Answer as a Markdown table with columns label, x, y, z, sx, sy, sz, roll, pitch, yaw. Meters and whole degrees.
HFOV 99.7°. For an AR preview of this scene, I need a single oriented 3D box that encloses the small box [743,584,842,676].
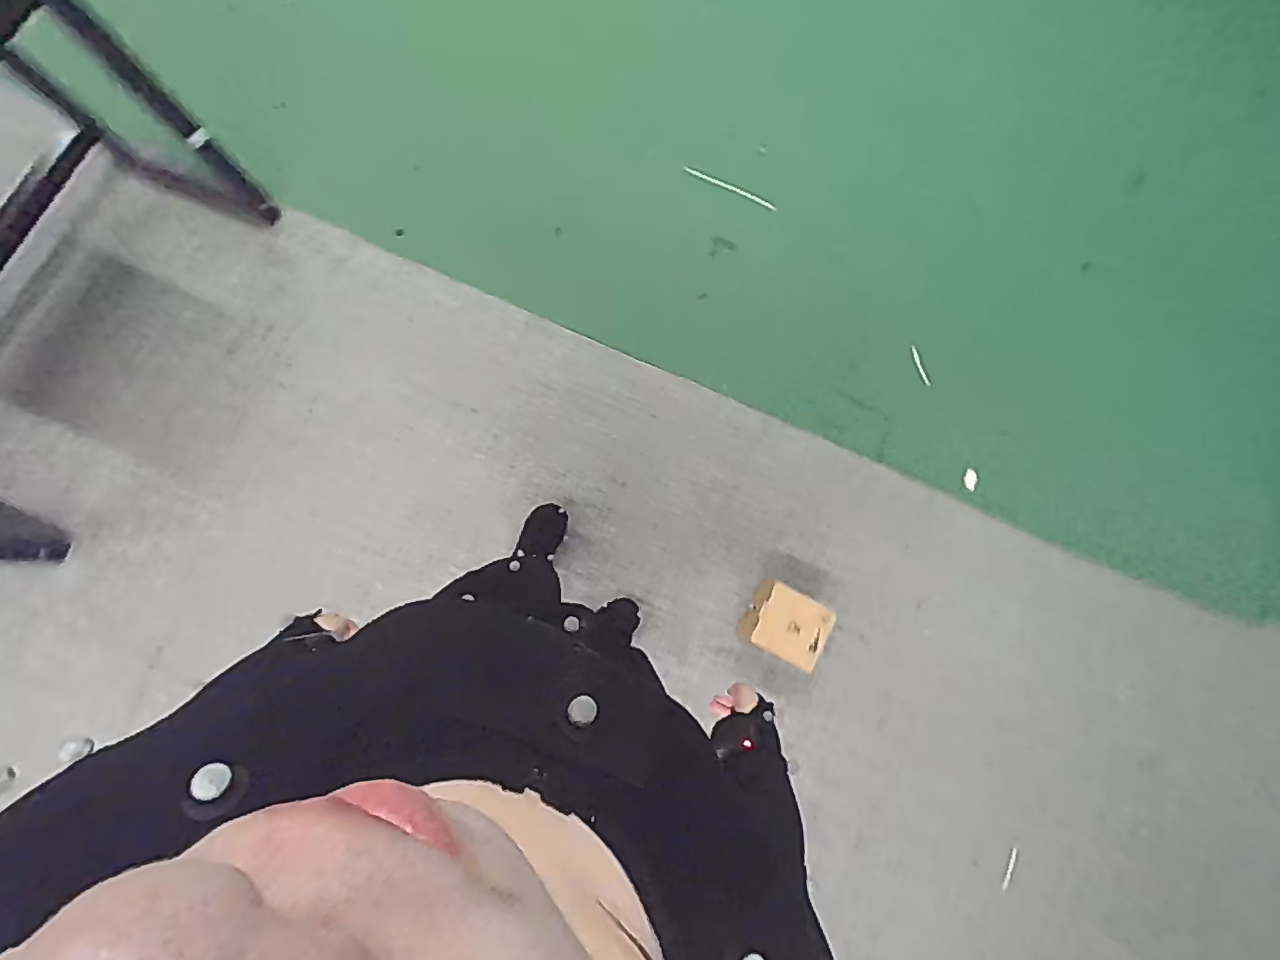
| label | x | y | z | sx | sy | sz | roll | pitch | yaw |
| --- | --- | --- | --- | --- | --- | --- | --- | --- | --- |
| small box | 0.390 | 0.387 | 1.417 | 0.179 | 0.176 | 0.168 | 29 | 81 | 4 |
